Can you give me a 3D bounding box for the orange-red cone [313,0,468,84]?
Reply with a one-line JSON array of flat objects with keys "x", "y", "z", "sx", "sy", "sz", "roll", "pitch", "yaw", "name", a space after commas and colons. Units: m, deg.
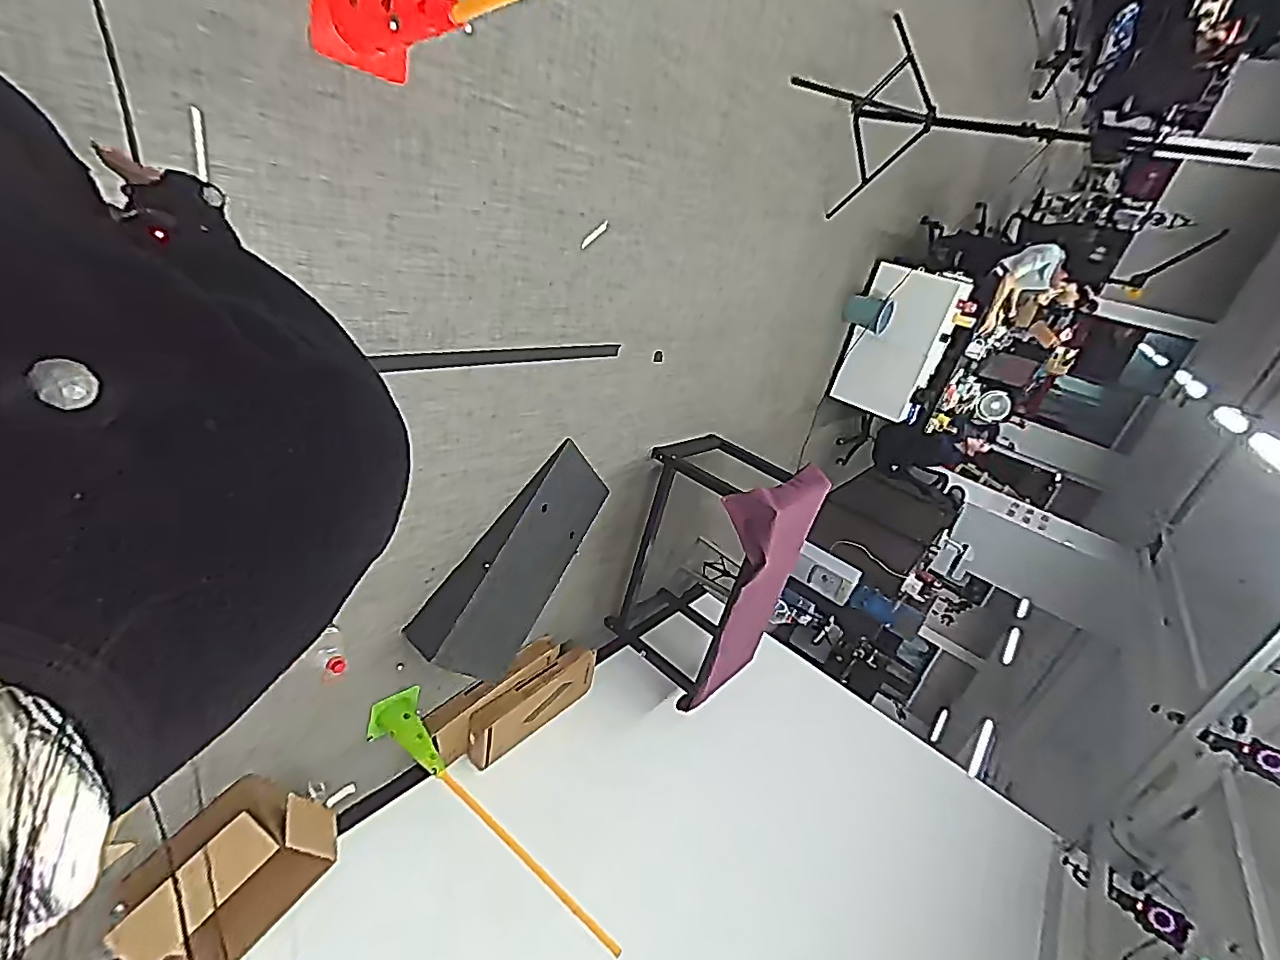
[{"x": -0.441, "y": -0.885, "z": 1.027, "sx": 0.198, "sy": 0.360, "sz": 0.199, "roll": -14, "pitch": 128, "yaw": -50, "name": "orange-red cone"}]
